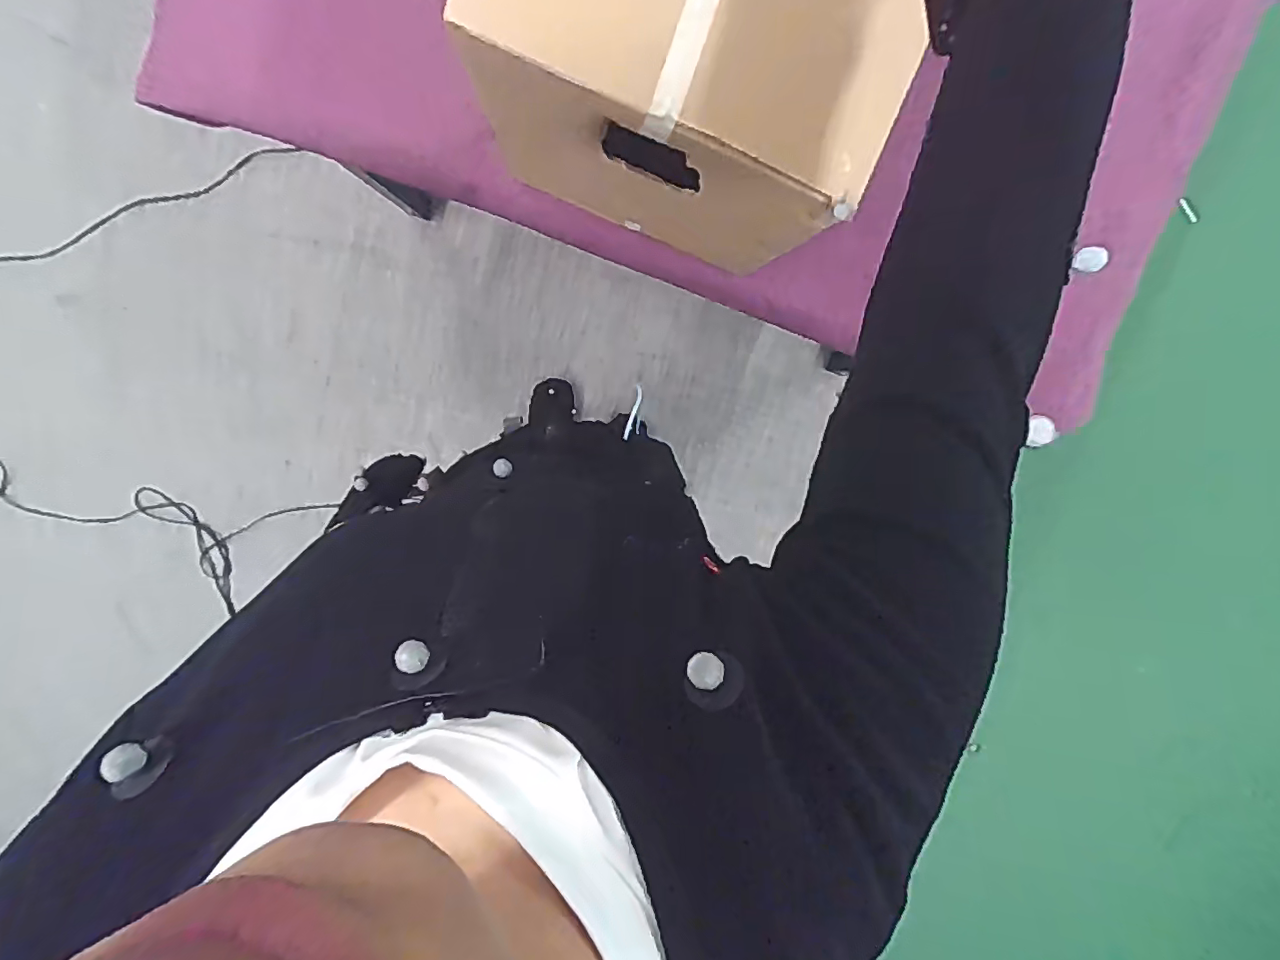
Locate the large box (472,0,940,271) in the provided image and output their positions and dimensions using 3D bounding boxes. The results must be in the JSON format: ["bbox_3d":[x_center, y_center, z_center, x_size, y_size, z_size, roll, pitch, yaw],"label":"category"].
[{"bbox_3d":[0.079,-0.471,0.510,0.320,0.320,0.408,21,100,-8],"label":"large box"}]
